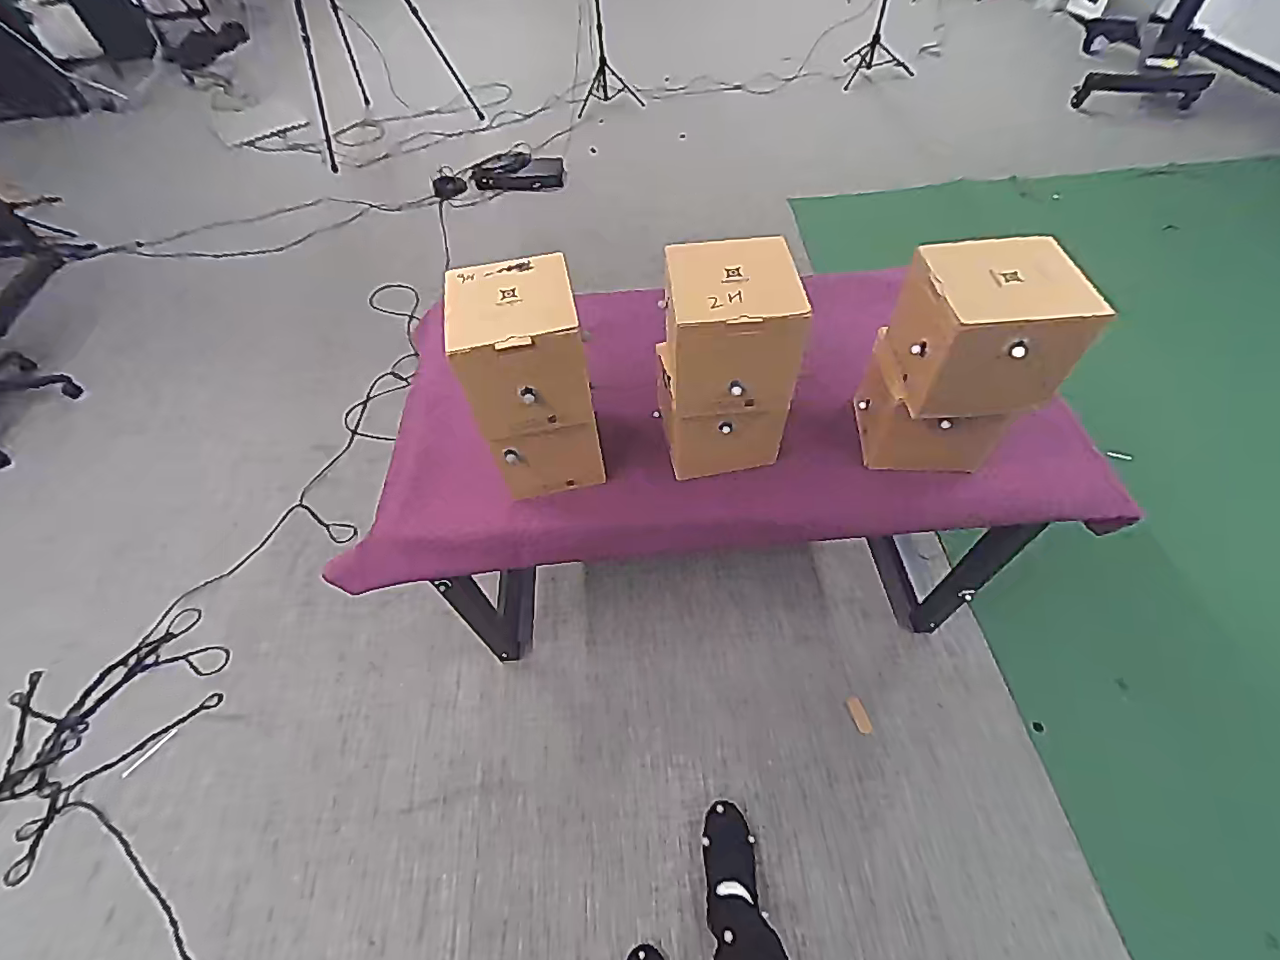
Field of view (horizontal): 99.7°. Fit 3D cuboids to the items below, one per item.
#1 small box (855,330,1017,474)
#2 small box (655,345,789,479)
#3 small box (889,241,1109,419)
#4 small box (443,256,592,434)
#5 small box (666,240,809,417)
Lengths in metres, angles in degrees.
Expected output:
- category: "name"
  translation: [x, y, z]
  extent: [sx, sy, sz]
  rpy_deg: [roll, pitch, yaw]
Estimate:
- category: "small box"
  translation: [0.467, -0.123, 0.879]
  extent: [0.179, 0.176, 0.168]
  rpy_deg: [2, 53, 7]
- category: "small box"
  translation: [0.128, -0.120, 0.901]
  extent: [0.179, 0.176, 0.168]
  rpy_deg: [-10, 54, -4]
- category: "small box"
  translation: [0.456, -0.196, 0.730]
  extent: [0.179, 0.176, 0.168]
  rpy_deg: [-2, 54, 4]
- category: "small box"
  translation: [-0.166, -0.182, 0.763]
  extent: [0.168, 0.176, 0.179]
  rpy_deg: [-11, 55, -4]
- category: "small box"
  translation: [0.123, -0.210, 0.764]
  extent: [0.168, 0.176, 0.179]
  rpy_deg: [-4, 54, 1]
